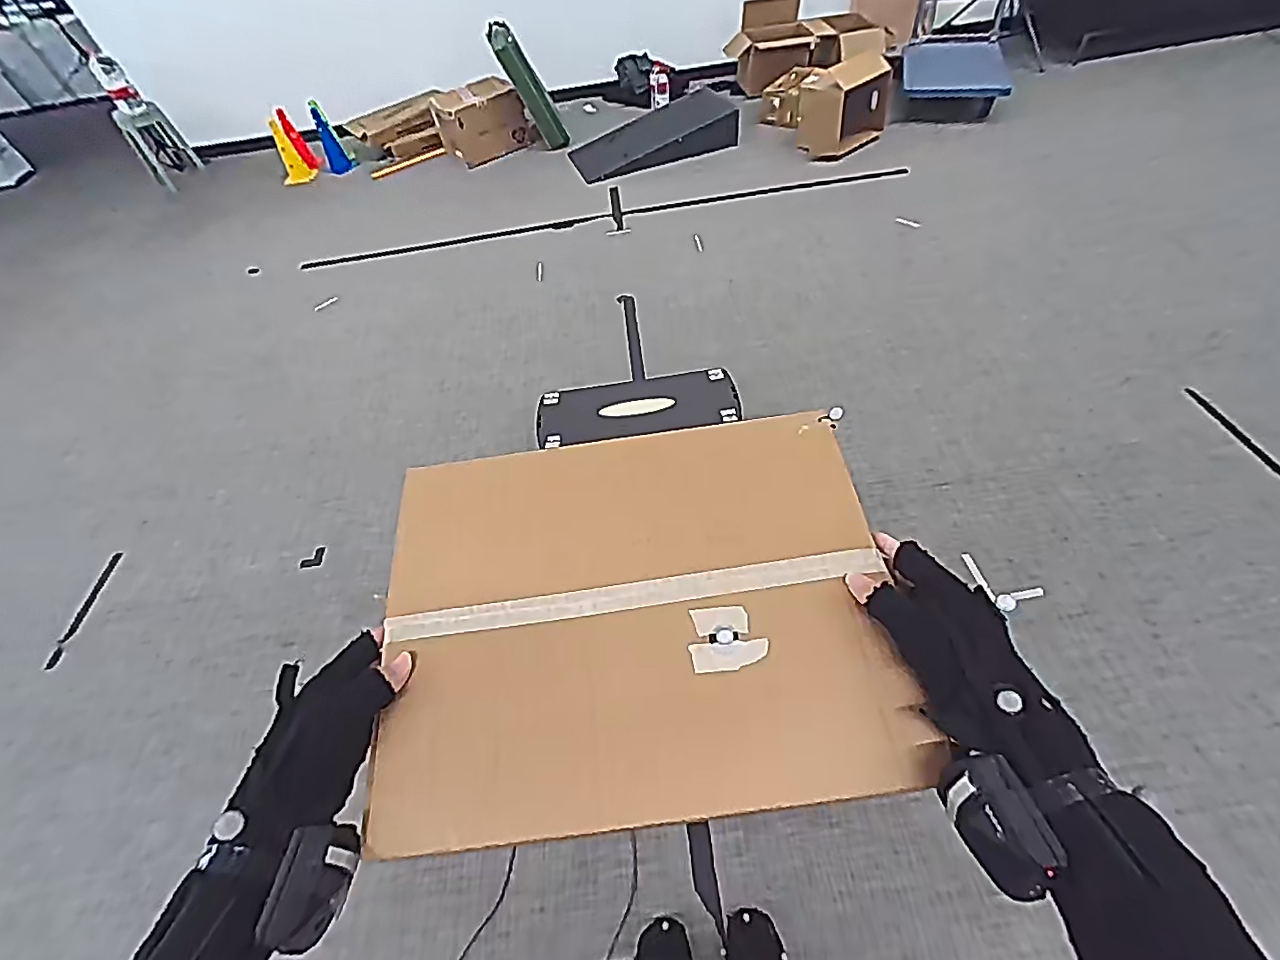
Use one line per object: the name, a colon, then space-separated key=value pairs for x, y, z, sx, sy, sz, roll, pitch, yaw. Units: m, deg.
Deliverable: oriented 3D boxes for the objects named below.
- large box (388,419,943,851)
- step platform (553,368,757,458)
large box: x=0.011 y=0.175 z=0.579 sx=0.408 sy=0.320 sz=0.320 roll=-8 pitch=60 yaw=1
step platform: x=0.048 y=-0.183 z=1.845 sx=0.684 sy=0.204 sz=0.286 roll=-9 pitch=52 yaw=0
